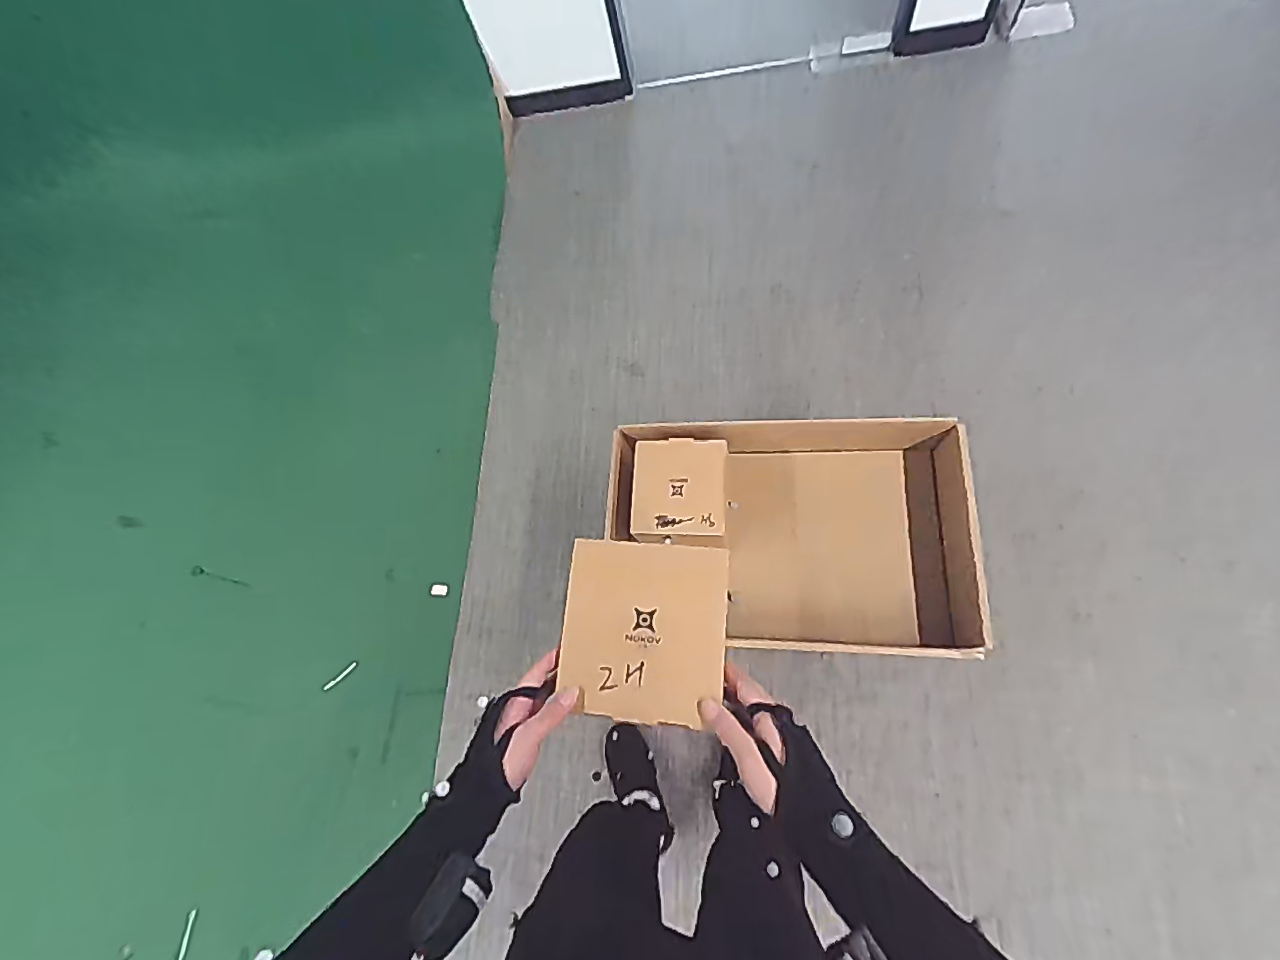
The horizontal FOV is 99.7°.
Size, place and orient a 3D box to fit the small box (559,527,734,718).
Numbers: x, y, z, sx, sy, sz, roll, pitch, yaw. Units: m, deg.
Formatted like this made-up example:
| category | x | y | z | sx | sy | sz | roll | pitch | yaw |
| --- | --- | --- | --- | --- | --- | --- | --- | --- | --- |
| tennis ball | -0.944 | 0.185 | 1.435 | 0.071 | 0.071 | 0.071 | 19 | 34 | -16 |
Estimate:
| category | x | y | z | sx | sy | sz | roll | pitch | yaw |
| --- | --- | --- | --- | --- | --- | --- | --- | --- | --- |
| small box | 0.017 | 0.162 | 0.624 | 0.168 | 0.176 | 0.179 | 4 | 73 | 9 |

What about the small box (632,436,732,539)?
| category | x | y | z | sx | sy | sz | roll | pitch | yaw |
| --- | --- | --- | --- | --- | --- | --- | --- | --- | --- |
| small box | 0.087 | 0.030 | 1.021 | 0.168 | 0.176 | 0.179 | 2 | 73 | 11 |
